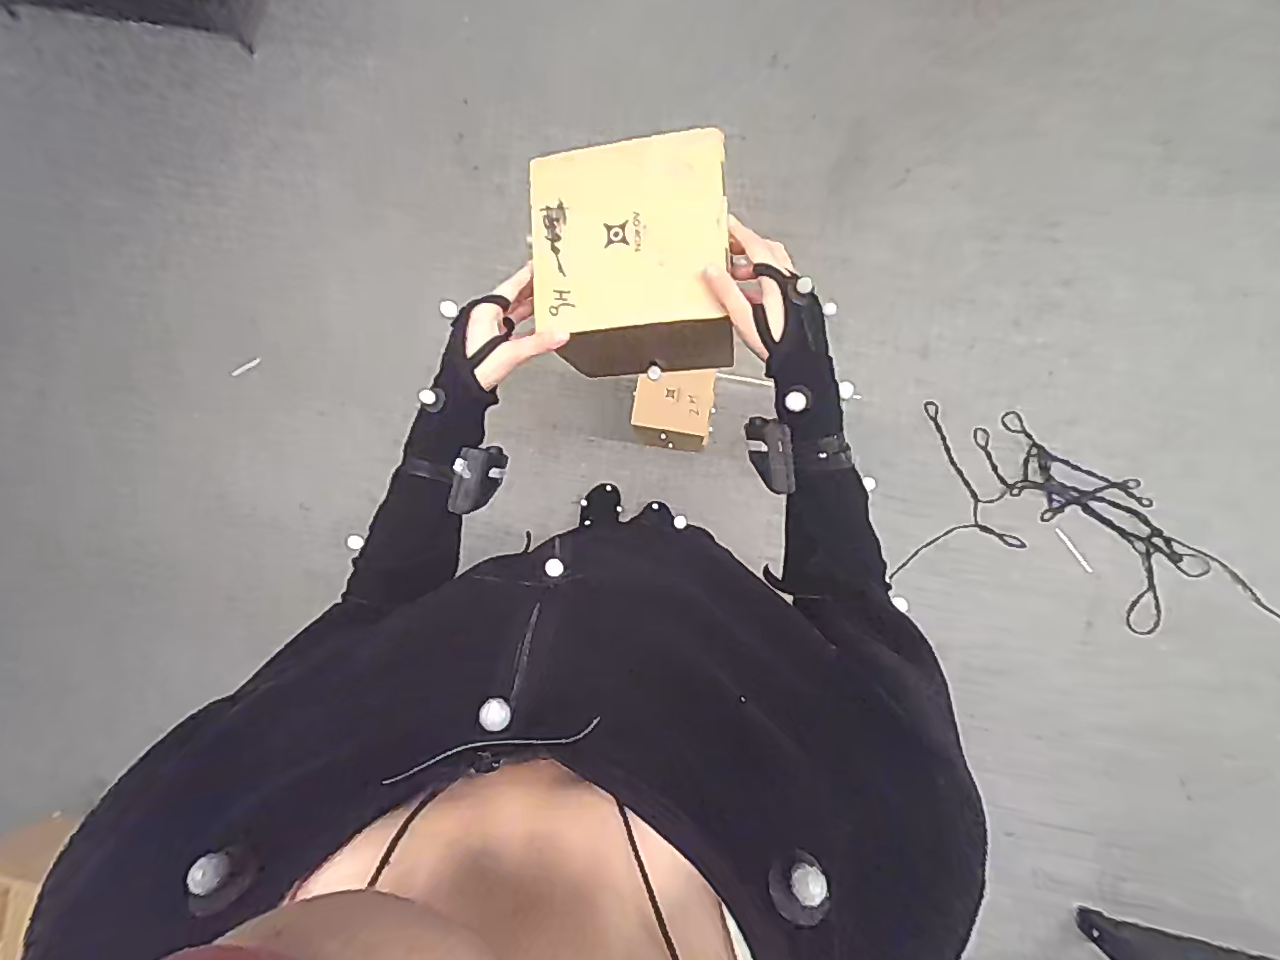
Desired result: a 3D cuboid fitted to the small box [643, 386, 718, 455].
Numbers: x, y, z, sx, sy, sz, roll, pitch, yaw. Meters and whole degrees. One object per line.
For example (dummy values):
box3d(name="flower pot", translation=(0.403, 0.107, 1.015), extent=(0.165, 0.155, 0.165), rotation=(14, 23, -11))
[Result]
box3d(name="small box", translation=(0.103, -0.166, 1.448), extent=(0.179, 0.176, 0.168), rotation=(10, 87, 4))

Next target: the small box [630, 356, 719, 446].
box3d(name="small box", translation=(0.083, -0.180, 1.286), extent=(0.179, 0.176, 0.168), rotation=(10, 87, 4))
